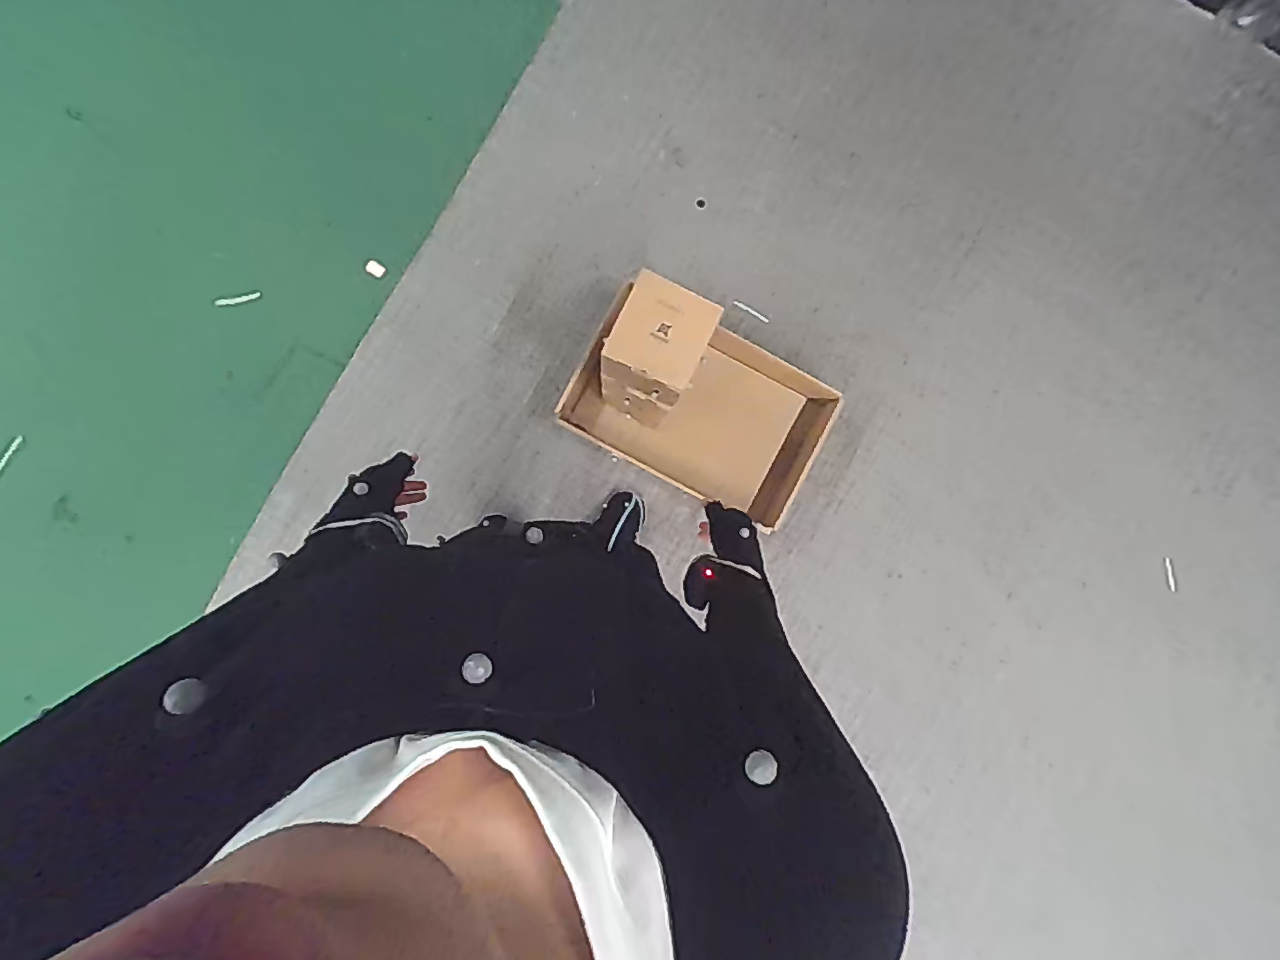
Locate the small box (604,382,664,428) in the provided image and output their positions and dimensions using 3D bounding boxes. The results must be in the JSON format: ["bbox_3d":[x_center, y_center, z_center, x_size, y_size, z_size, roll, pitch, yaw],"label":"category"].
[{"bbox_3d":[0.019,-0.249,1.361,0.168,0.176,0.179,30,88,-2],"label":"small box"}]

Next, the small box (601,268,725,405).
[{"bbox_3d":[0.038,-0.261,1.035,0.168,0.176,0.179,27,88,-4],"label":"small box"}]

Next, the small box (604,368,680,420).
[{"bbox_3d":[0.029,-0.253,1.198,0.168,0.176,0.179,29,88,-3],"label":"small box"}]
